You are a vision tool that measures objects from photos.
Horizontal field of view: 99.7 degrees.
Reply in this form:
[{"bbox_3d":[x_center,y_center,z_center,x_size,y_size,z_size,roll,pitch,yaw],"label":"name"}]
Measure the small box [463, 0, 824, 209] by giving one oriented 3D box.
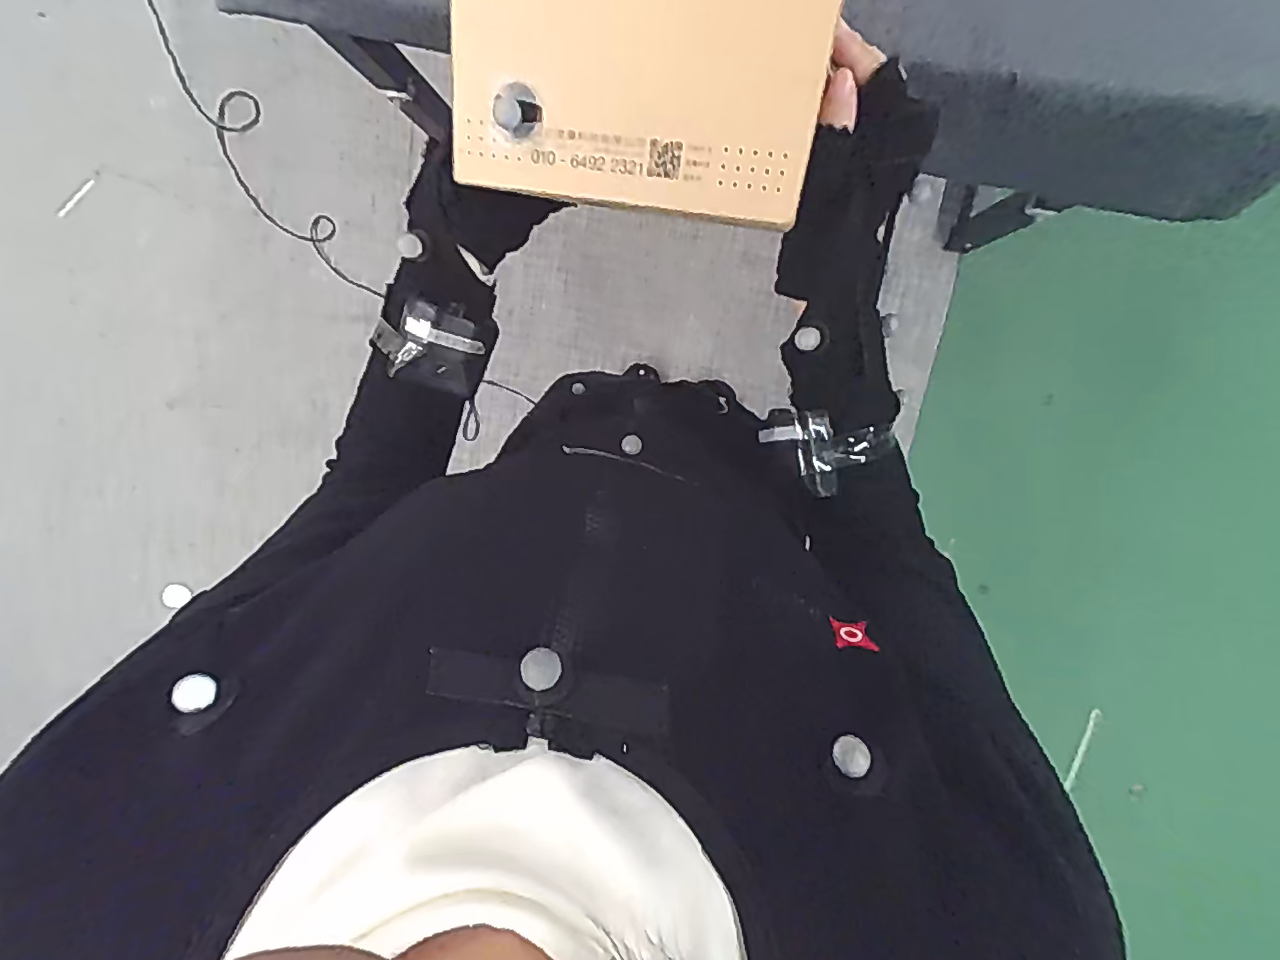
[{"bbox_3d":[0.014,-0.252,0.300,0.168,0.179,0.176,12,115,8],"label":"small box"}]
